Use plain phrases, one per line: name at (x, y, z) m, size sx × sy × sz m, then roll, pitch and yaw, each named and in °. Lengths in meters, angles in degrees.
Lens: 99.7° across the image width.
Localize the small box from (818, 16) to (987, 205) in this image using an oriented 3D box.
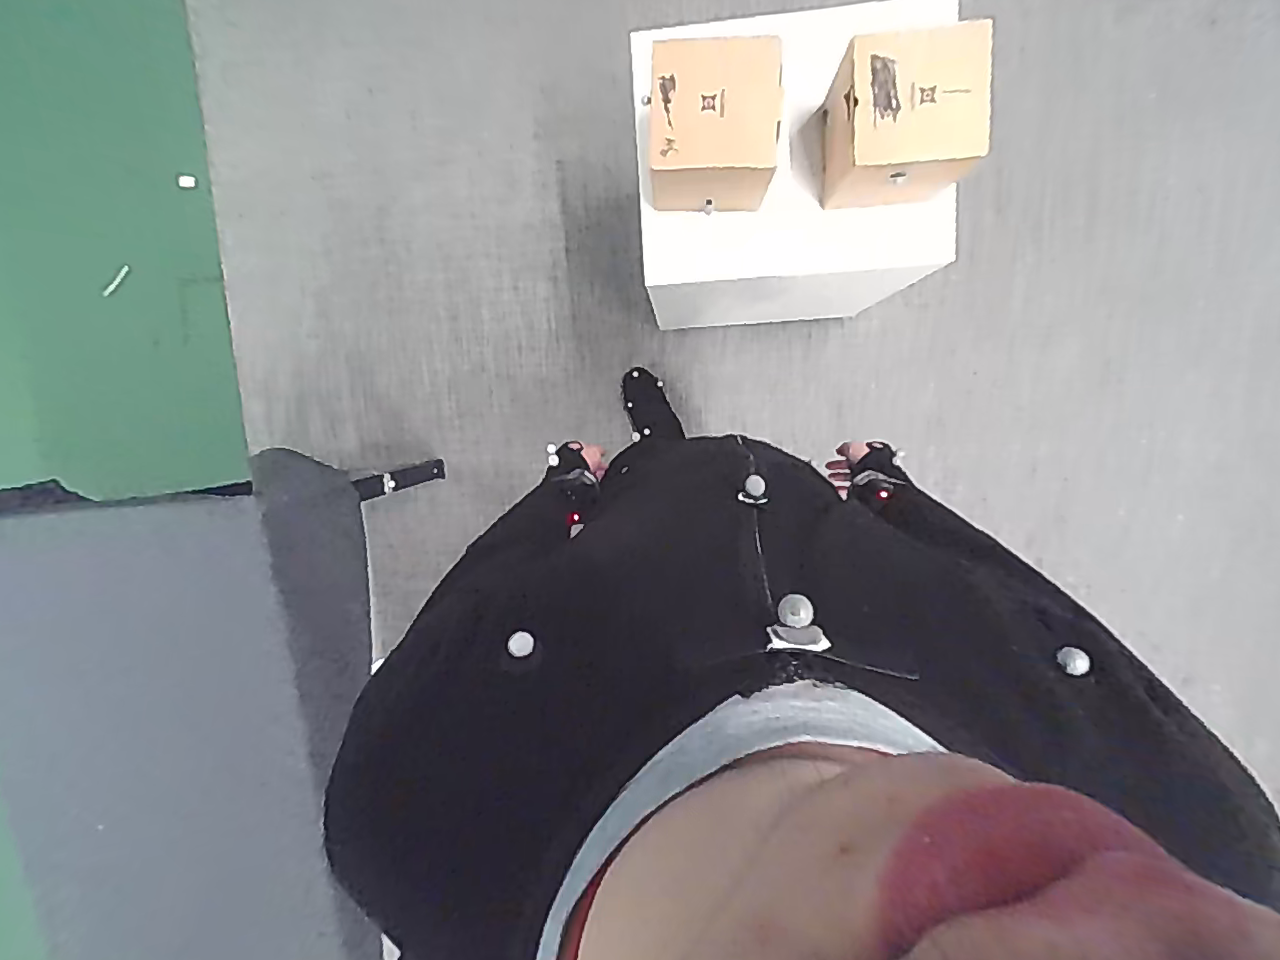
small box at (0.362, -0.514, 0.778) m, size 0.179 × 0.176 × 0.168 m, roll -3°, pitch 98°, yaw 2°

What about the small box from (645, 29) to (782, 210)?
small box at (0.097, -0.509, 0.788) m, size 0.179 × 0.176 × 0.168 m, roll 0°, pitch 97°, yaw 0°
